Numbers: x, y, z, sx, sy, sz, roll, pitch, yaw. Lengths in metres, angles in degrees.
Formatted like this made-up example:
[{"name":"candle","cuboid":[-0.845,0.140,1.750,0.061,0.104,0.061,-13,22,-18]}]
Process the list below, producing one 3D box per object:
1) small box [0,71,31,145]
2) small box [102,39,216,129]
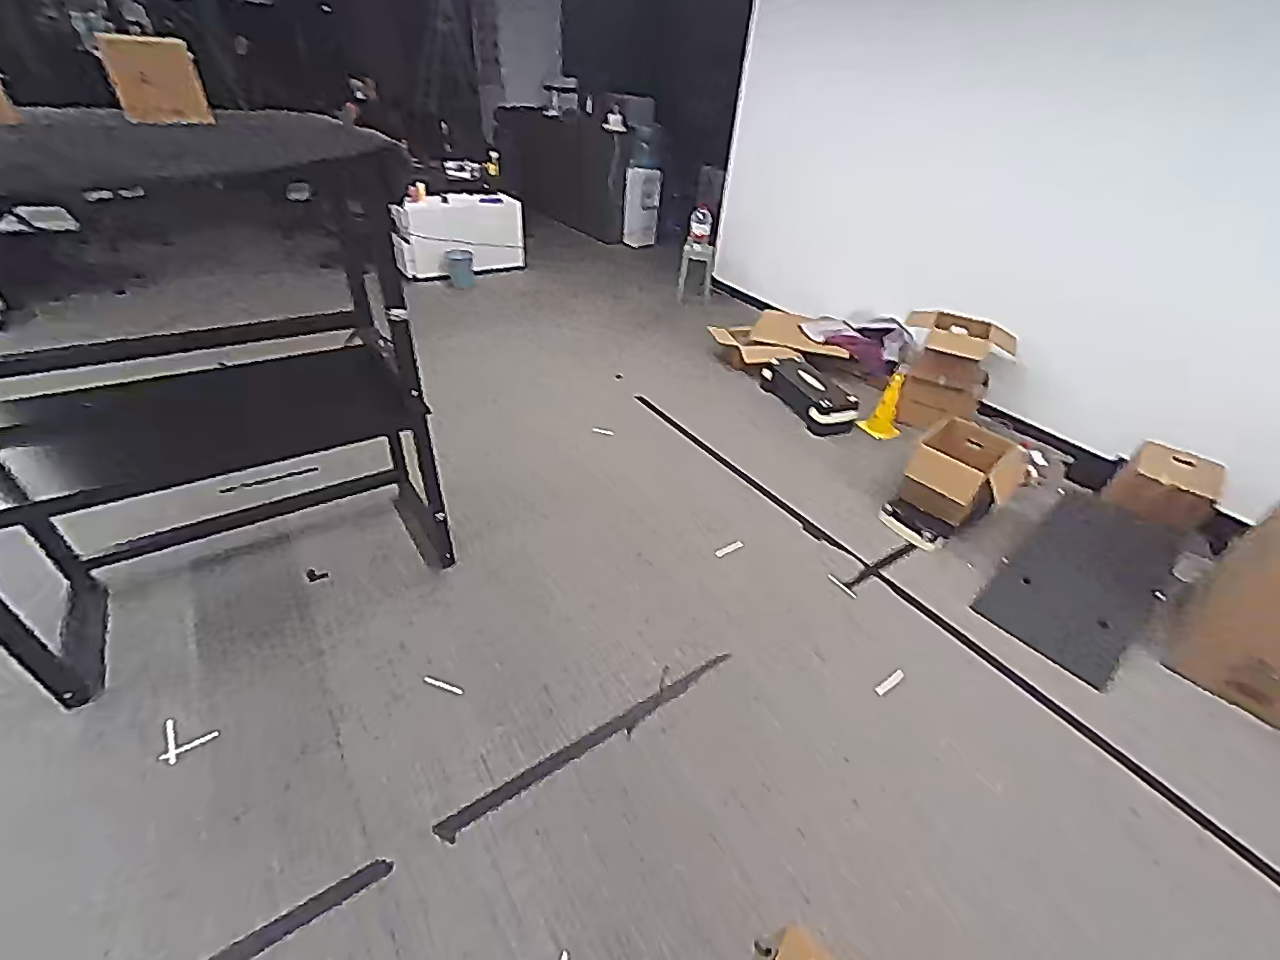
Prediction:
[{"name":"small box","cuboid":[-1.291,-0.730,1.001,0.168,0.176,0.179,-24,45,-32]},{"name":"small box","cuboid":[-1.193,-0.986,1.351,0.168,0.176,0.179,-21,45,-30]}]
